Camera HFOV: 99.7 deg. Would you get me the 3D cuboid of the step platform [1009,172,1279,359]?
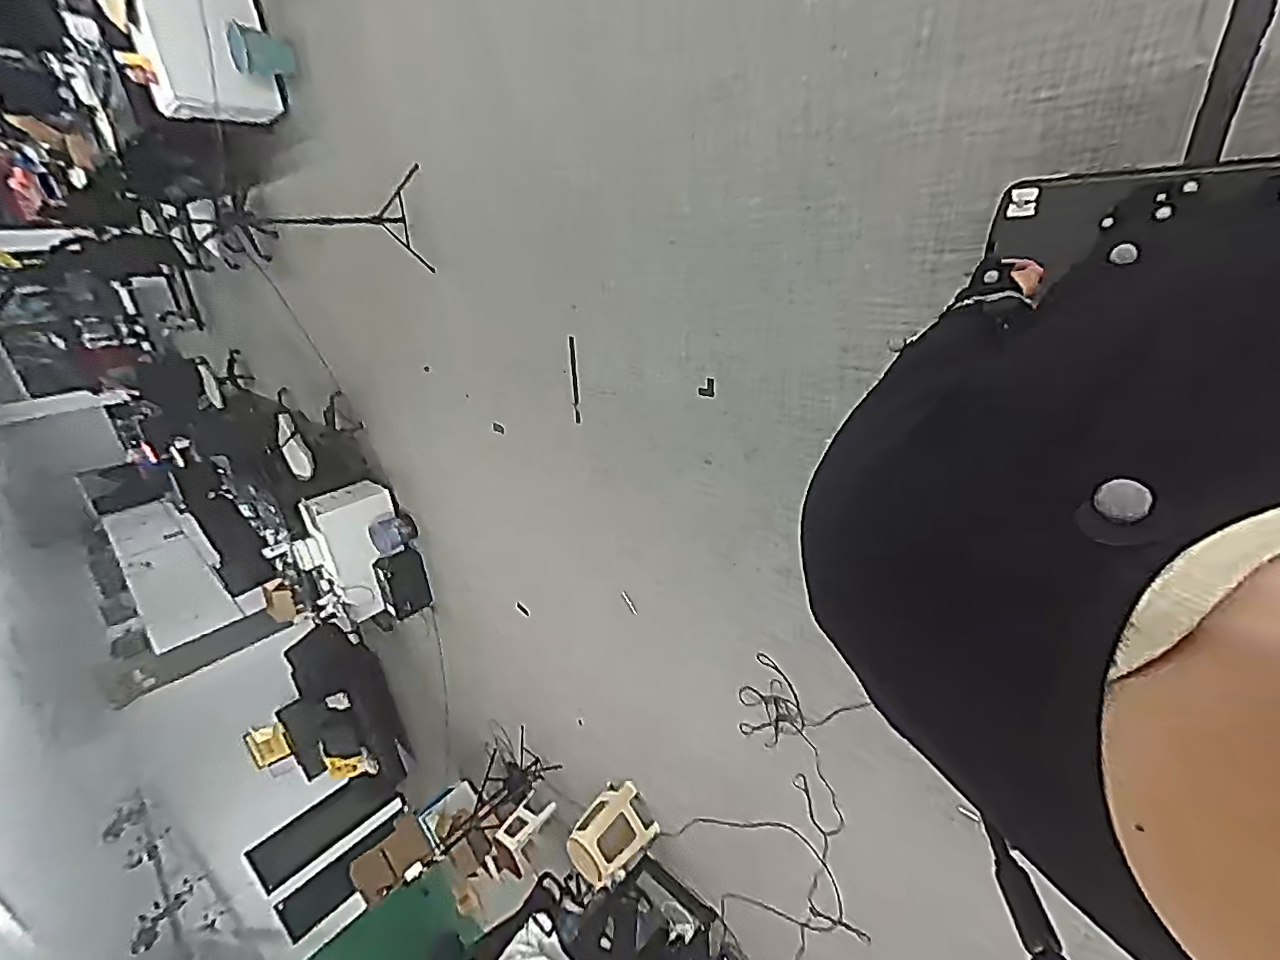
[{"bbox_3d":[1.067,-0.381,0.953,0.684,0.204,0.286,22,123,36],"label":"step platform"}]
